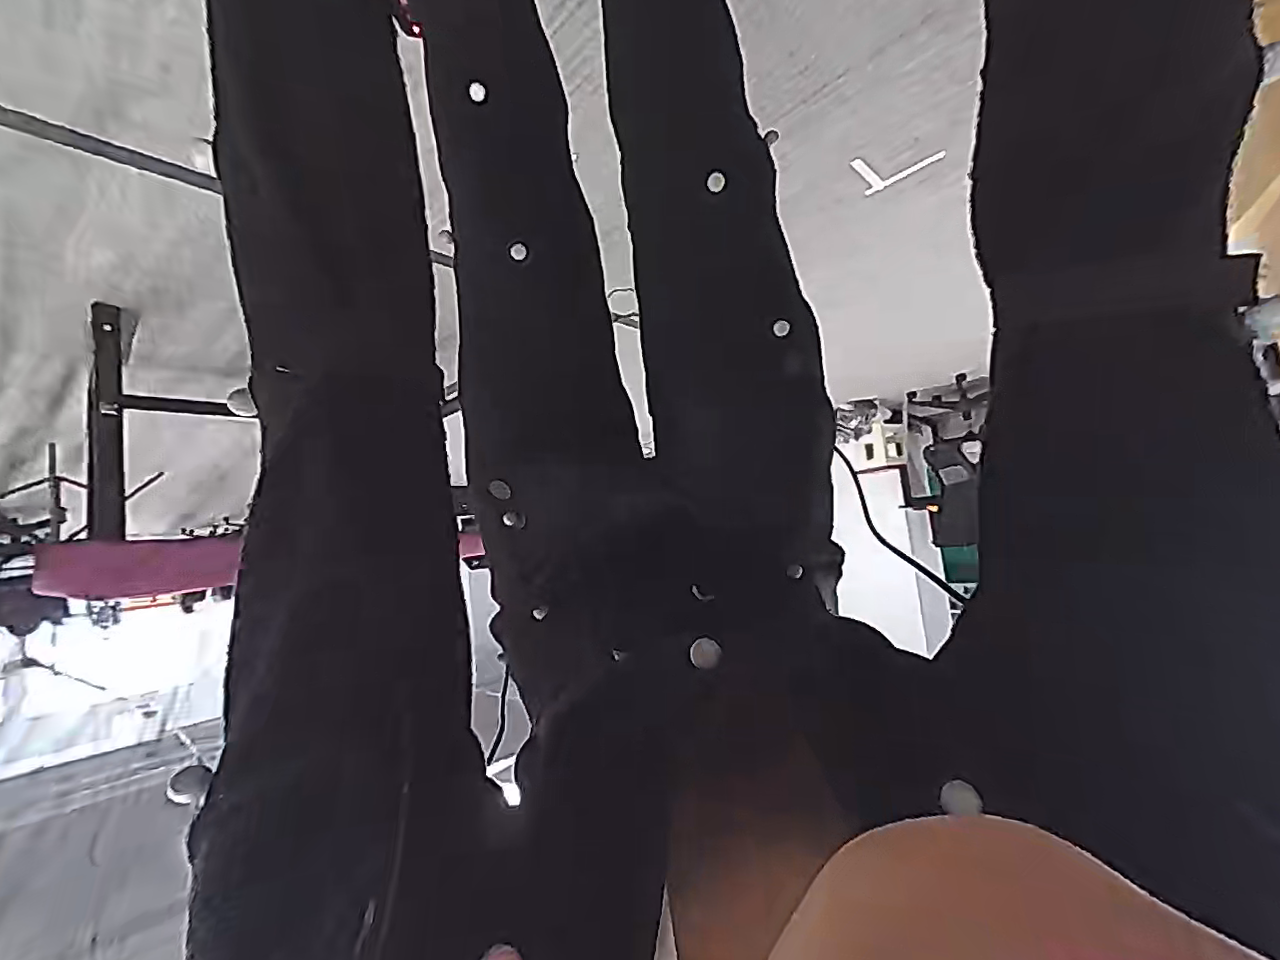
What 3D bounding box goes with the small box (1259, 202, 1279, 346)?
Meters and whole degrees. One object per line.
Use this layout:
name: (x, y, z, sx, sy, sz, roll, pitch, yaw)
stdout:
small box: (0.730, -0.218, 0.502, 0.168, 0.176, 0.179, -13, 170, 38)
